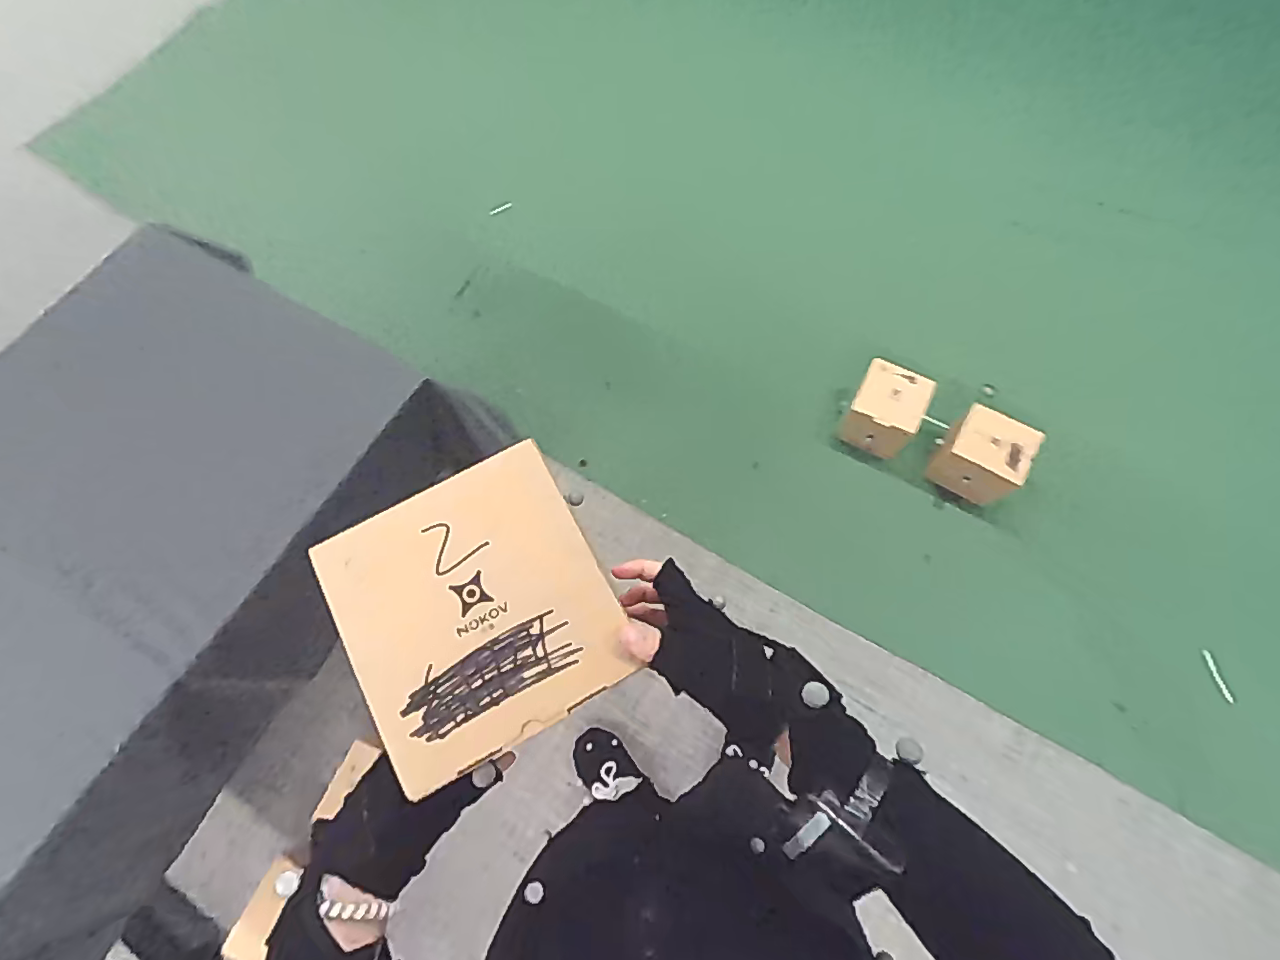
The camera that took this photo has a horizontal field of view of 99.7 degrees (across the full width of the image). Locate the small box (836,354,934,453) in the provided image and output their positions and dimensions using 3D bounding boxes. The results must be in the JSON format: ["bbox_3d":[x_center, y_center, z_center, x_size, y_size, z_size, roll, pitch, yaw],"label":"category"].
[{"bbox_3d":[0.648,-0.198,1.455,0.168,0.176,0.179,28,74,11],"label":"small box"}]

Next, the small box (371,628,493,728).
[{"bbox_3d":[-0.471,0.458,1.252,0.179,0.176,0.168,17,72,8],"label":"small box"}]

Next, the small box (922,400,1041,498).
[{"bbox_3d":[0.876,-0.071,1.401,0.179,0.176,0.168,31,74,13],"label":"small box"}]
